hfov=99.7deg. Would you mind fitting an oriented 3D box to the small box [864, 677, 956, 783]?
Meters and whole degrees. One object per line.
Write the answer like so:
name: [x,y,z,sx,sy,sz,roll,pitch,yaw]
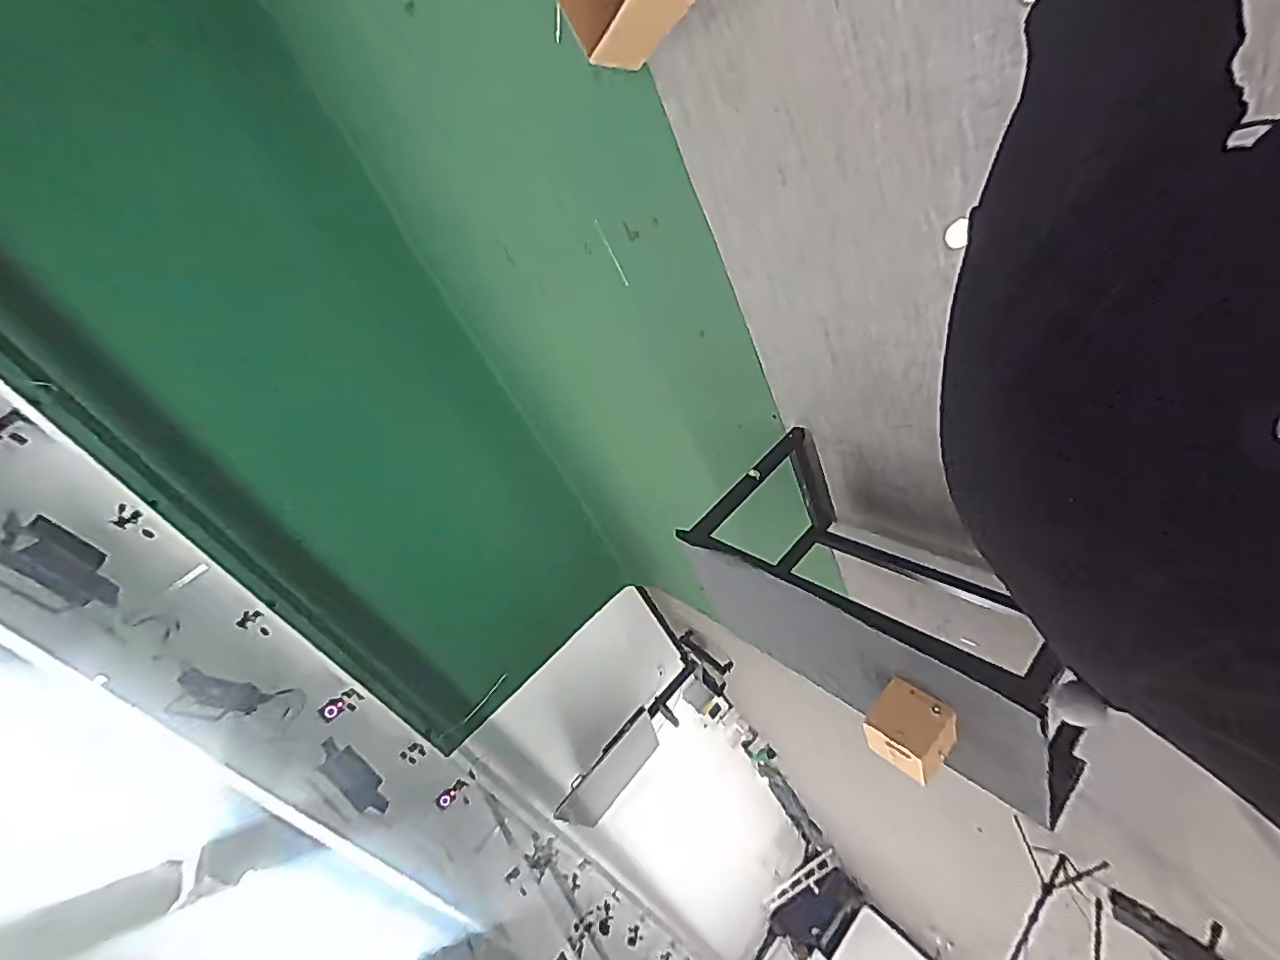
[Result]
small box: [0.741,0.677,1.481,0.168,0.176,0.179,25,150,47]
